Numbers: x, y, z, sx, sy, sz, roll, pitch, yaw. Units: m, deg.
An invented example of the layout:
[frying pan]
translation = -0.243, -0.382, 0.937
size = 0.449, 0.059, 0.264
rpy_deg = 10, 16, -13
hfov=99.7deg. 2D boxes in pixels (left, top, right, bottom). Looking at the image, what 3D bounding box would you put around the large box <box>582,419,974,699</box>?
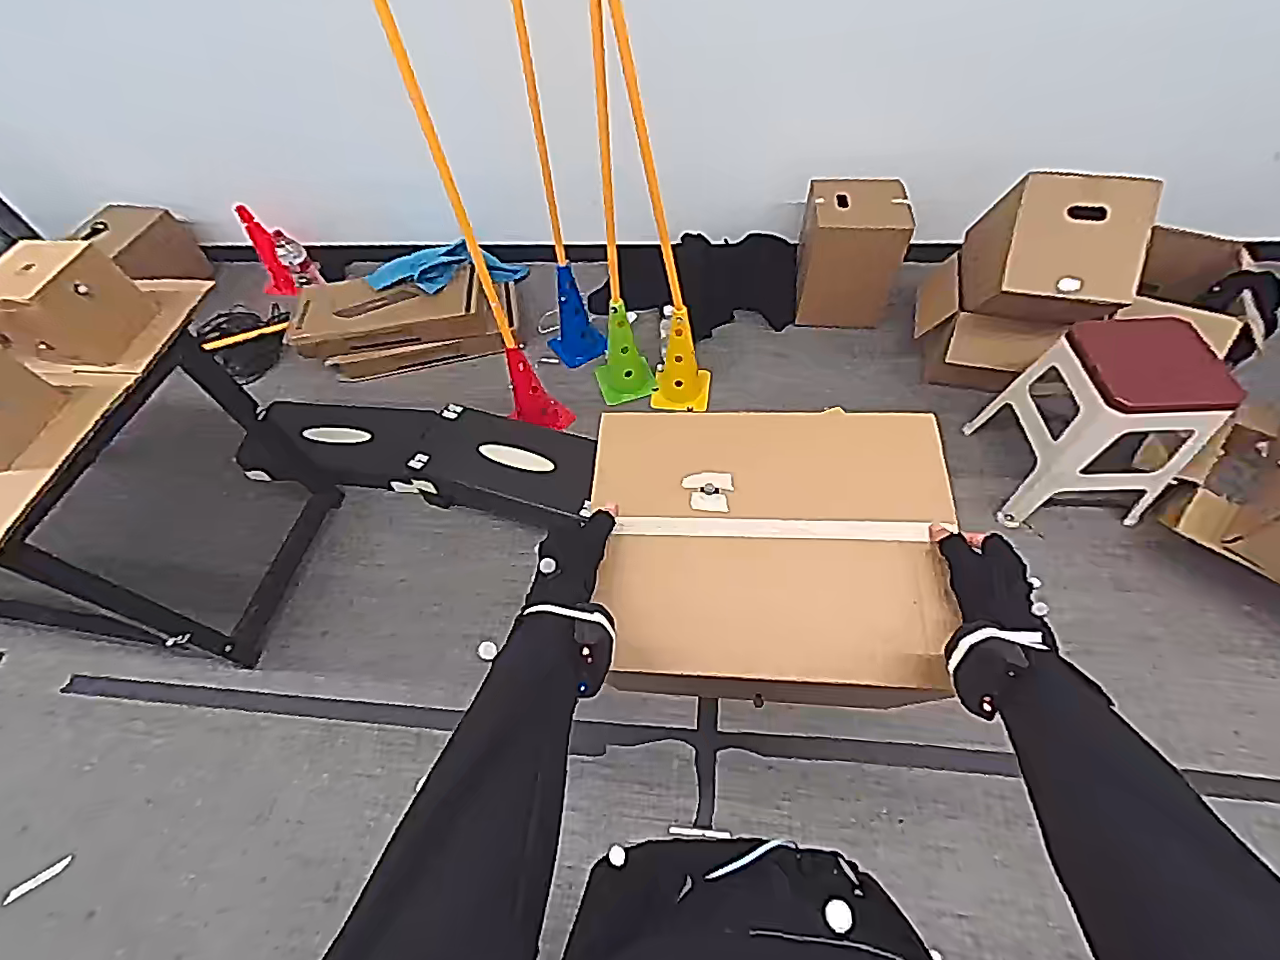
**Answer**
[large box]
translation = 0.159, 0.127, 0.750
size = 0.408, 0.320, 0.320
rpy_deg = 1, 64, 7
